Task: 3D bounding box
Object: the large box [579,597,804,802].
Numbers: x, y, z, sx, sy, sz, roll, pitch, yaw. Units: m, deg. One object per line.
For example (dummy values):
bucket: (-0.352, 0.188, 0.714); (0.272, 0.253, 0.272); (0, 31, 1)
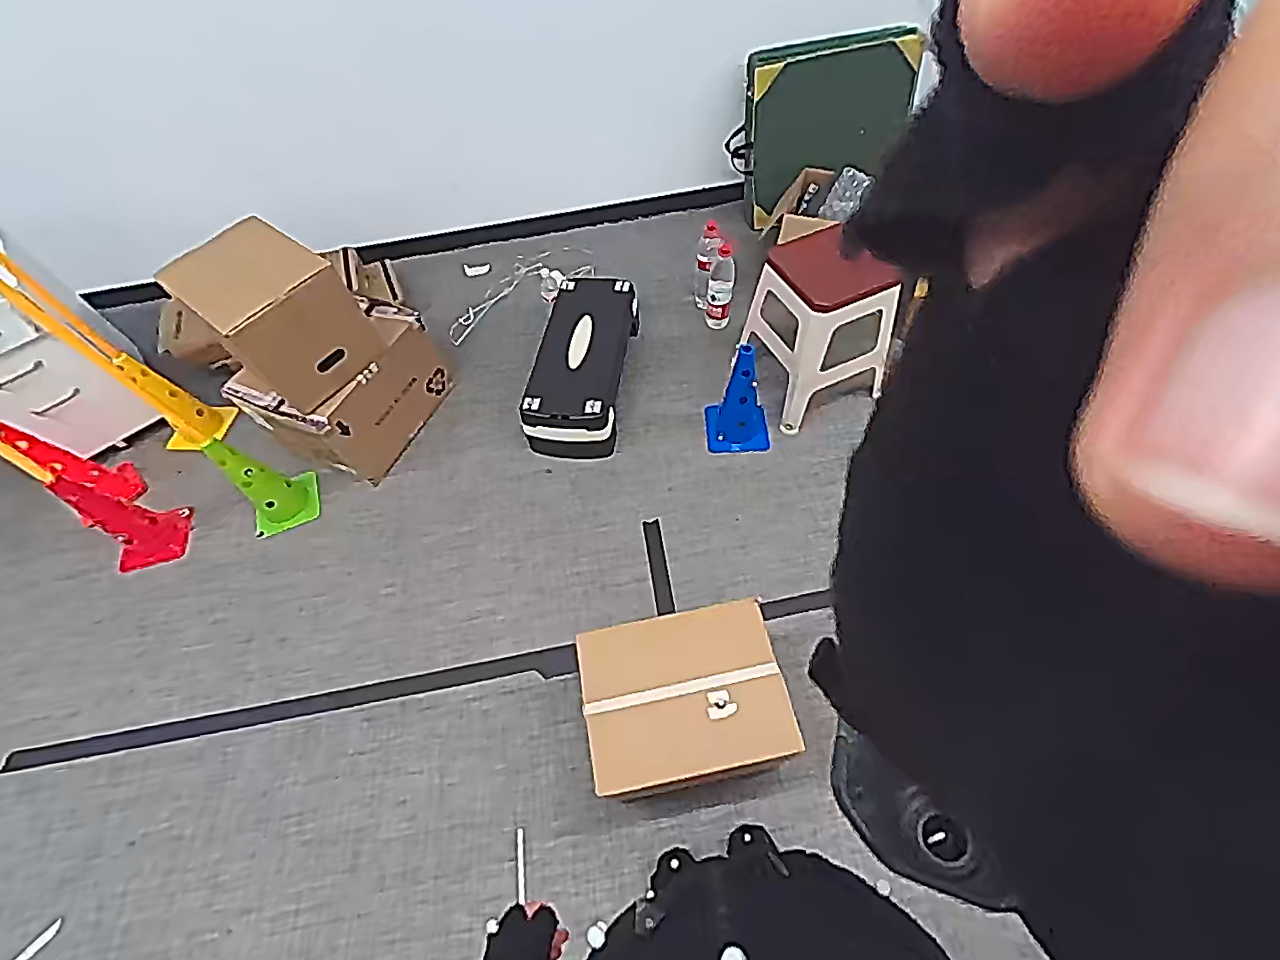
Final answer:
large box: (0.098, 0.503, 1.220); (0.408, 0.320, 0.320); (-11, 58, -4)
